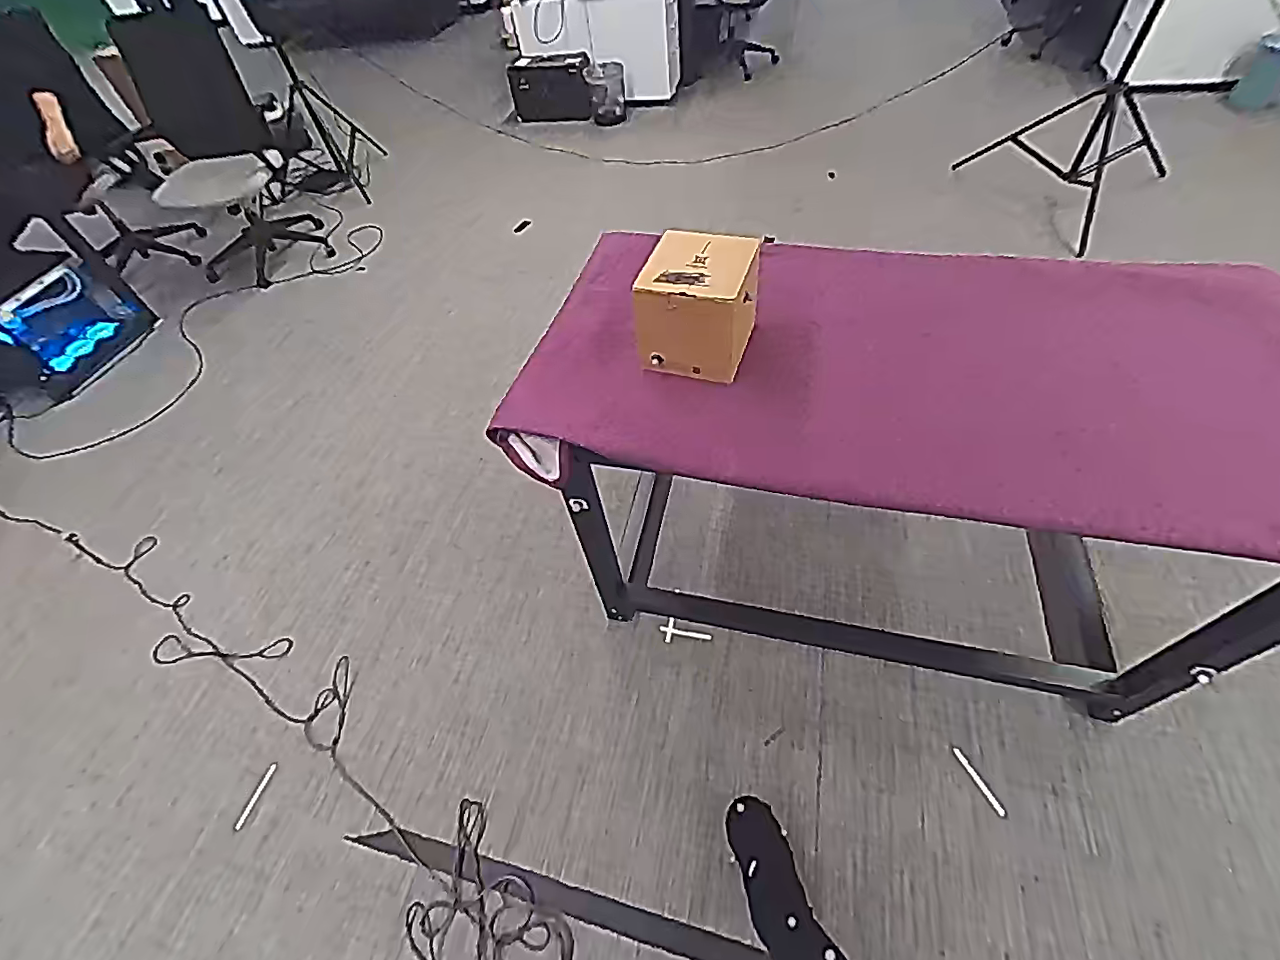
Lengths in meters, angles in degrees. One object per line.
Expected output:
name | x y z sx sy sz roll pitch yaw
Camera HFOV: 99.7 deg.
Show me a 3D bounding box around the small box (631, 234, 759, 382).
small box | 0.099 -0.291 0.924 0.168 0.176 0.179 13 55 16
